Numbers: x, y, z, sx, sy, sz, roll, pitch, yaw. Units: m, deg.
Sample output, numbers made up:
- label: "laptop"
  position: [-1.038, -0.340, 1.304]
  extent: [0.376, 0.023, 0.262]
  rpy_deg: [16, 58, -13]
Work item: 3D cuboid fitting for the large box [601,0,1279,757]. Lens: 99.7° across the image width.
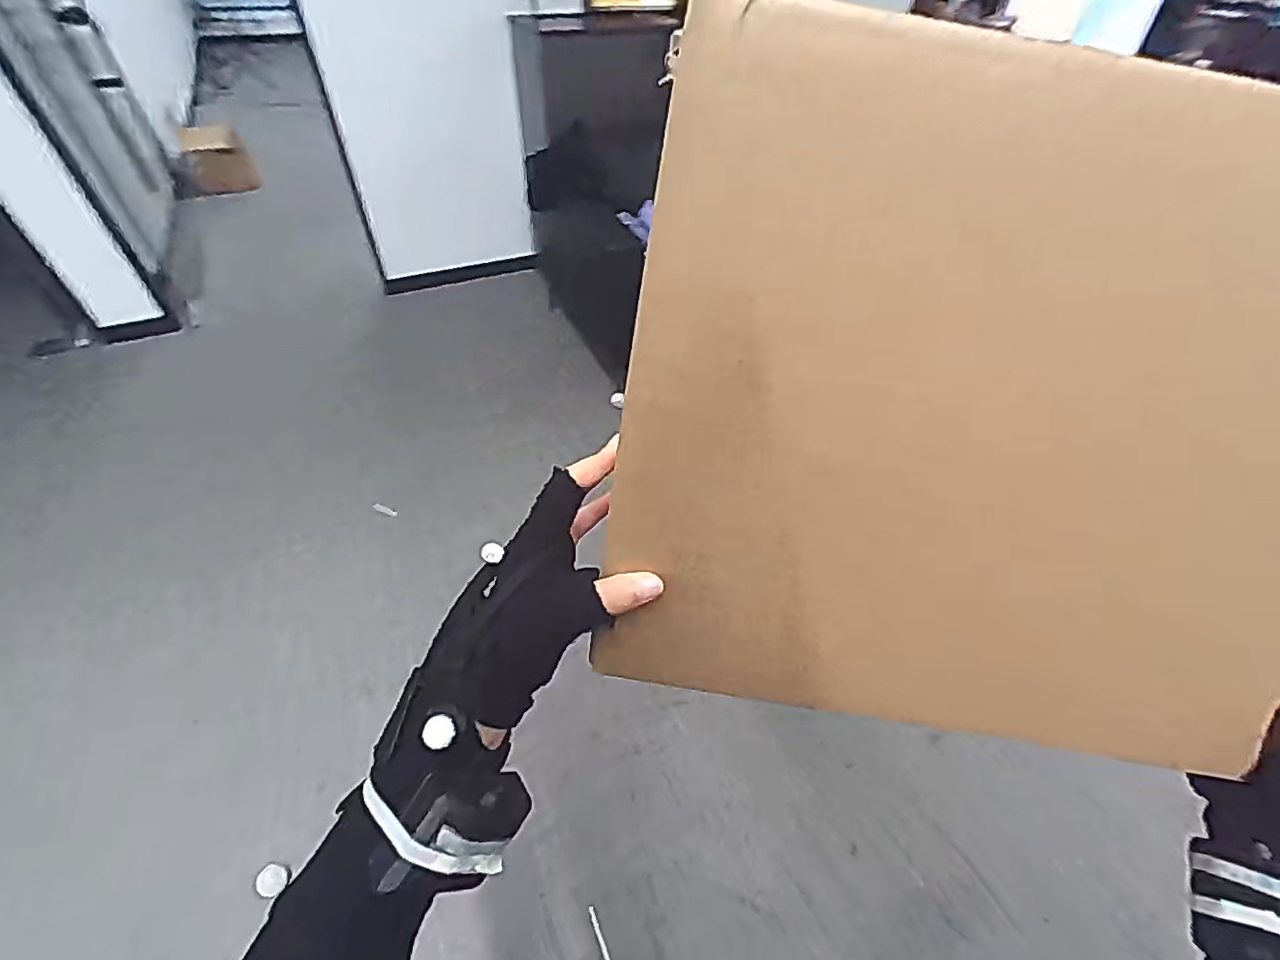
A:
- label: "large box"
  position: [0.200, -0.059, 0.371]
  extent: [0.408, 0.320, 0.320]
  rpy_deg: [10, 34, -3]
